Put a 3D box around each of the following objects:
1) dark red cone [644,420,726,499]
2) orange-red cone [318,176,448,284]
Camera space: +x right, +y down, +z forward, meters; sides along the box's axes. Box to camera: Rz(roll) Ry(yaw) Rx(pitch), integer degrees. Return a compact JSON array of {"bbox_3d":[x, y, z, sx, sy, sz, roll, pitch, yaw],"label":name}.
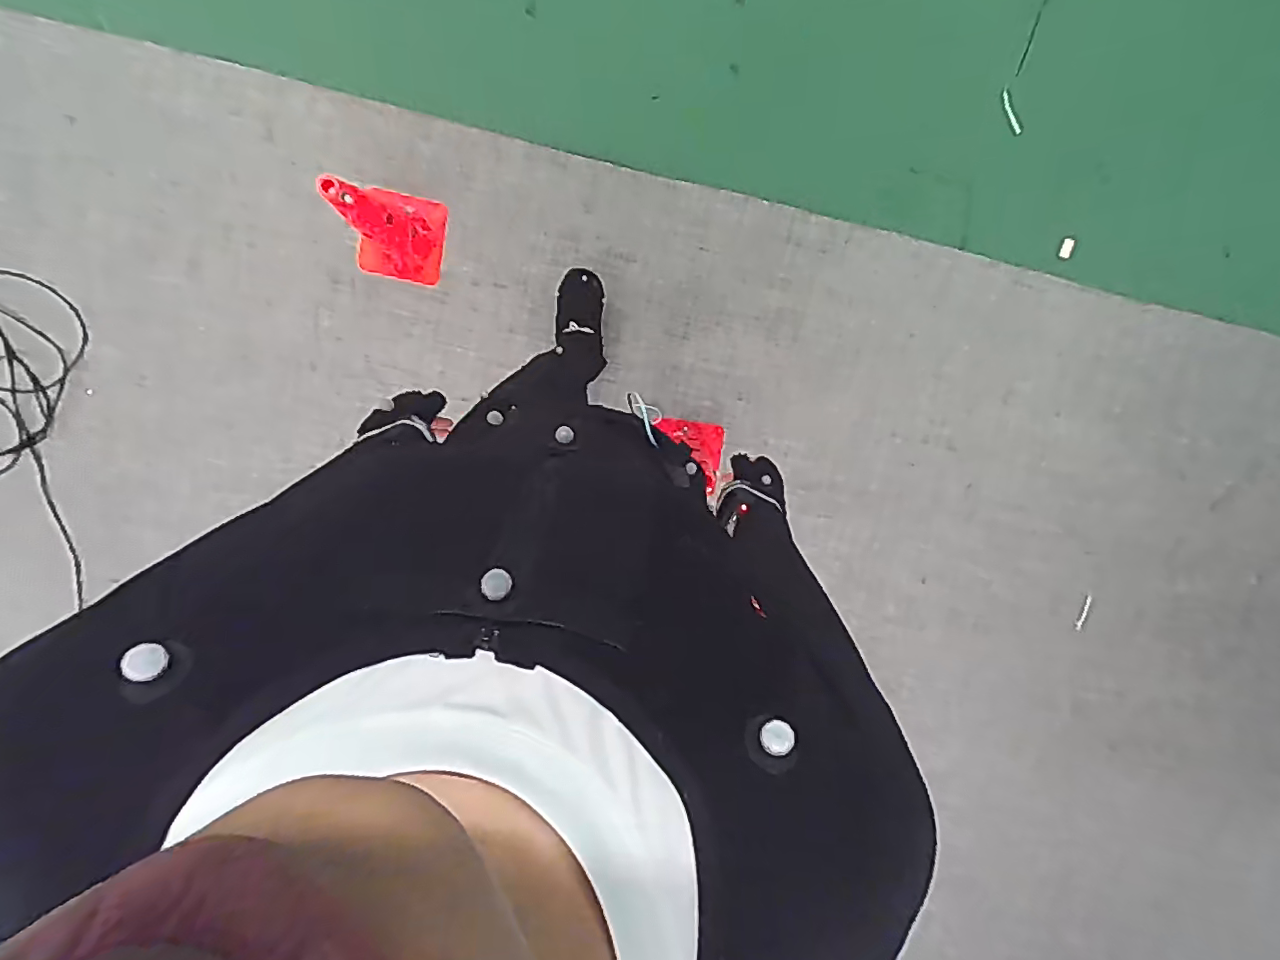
[{"bbox_3d":[0.124,-0.027,1.272,0.202,0.394,0.201,7,99,-4],"label":"dark red cone"},{"bbox_3d":[-0.577,-0.569,1.165,0.198,0.360,0.199,13,101,-4],"label":"orange-red cone"}]
